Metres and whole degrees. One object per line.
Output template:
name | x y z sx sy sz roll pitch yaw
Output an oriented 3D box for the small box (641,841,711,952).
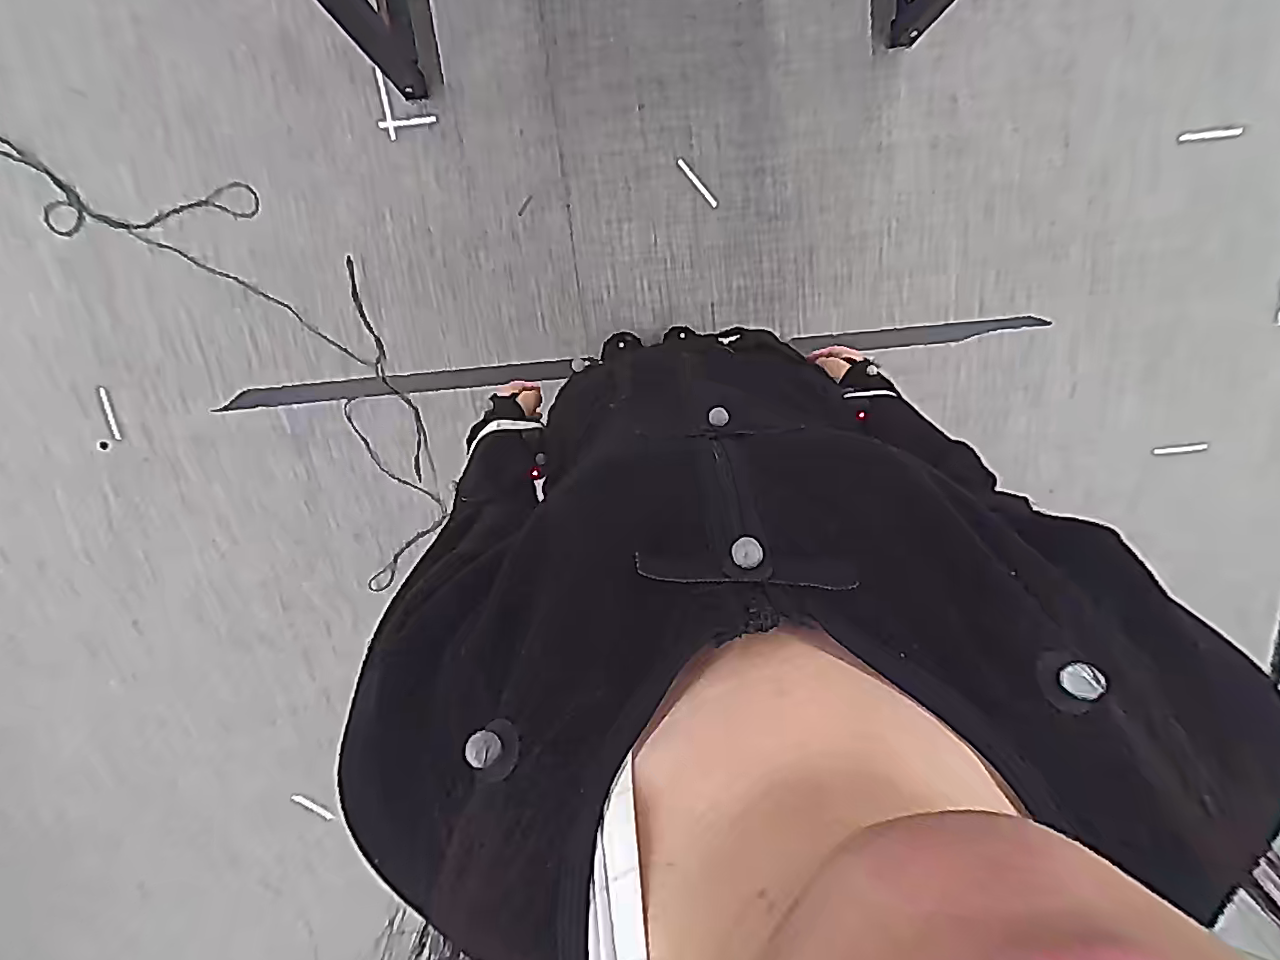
small box | 0.098 1.166 1.522 0.168 0.176 0.179 -11 105 0
